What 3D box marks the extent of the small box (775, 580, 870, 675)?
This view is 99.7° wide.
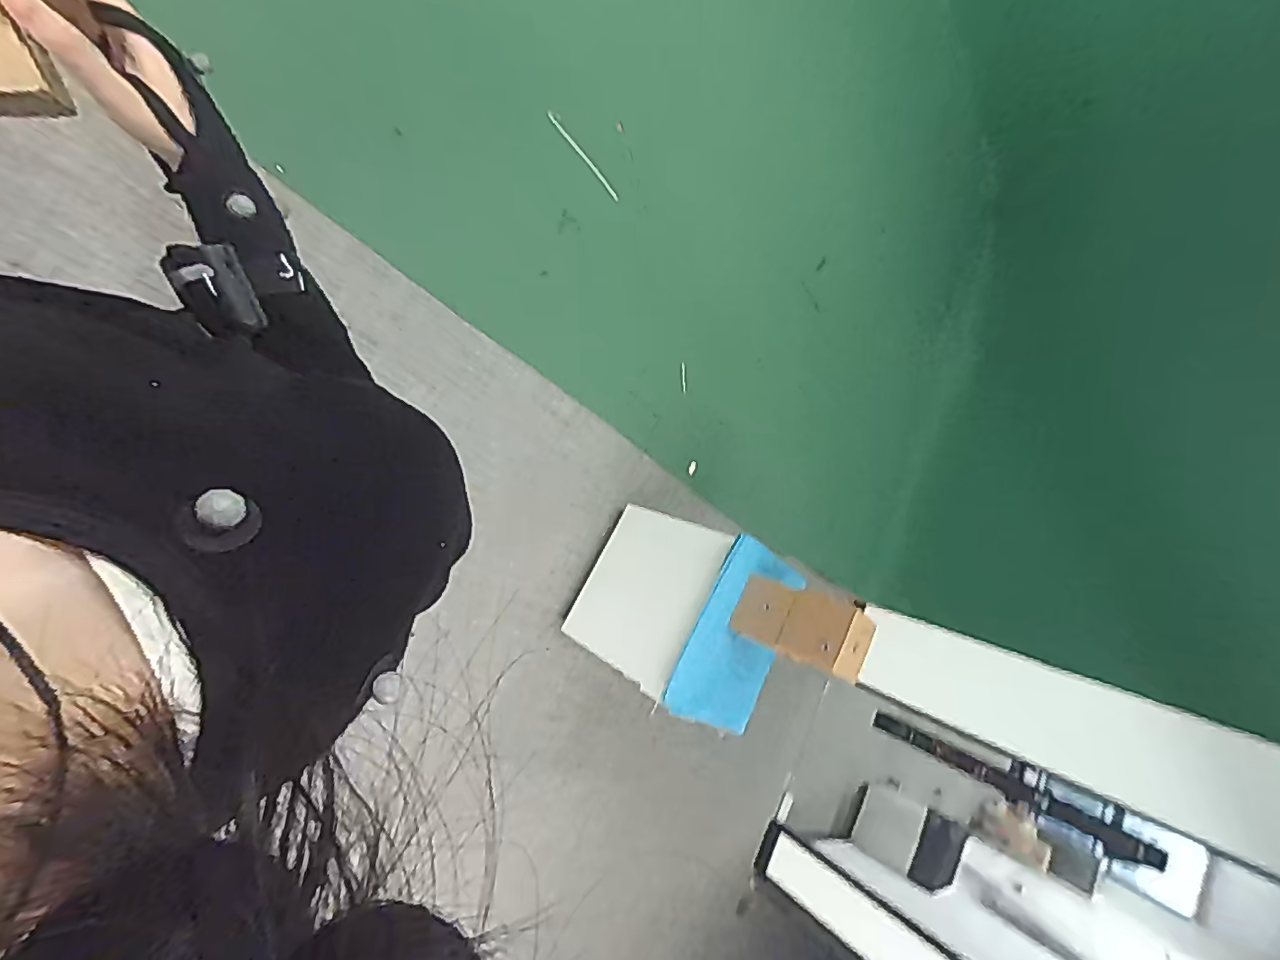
[{"bbox_3d":[0.493,0.399,1.475,0.168,0.176,0.179,37,75,-42],"label":"small box"}]

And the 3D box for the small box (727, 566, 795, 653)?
[{"bbox_3d":[0.380,0.379,1.593,0.168,0.176,0.179,37,75,-42],"label":"small box"}]
